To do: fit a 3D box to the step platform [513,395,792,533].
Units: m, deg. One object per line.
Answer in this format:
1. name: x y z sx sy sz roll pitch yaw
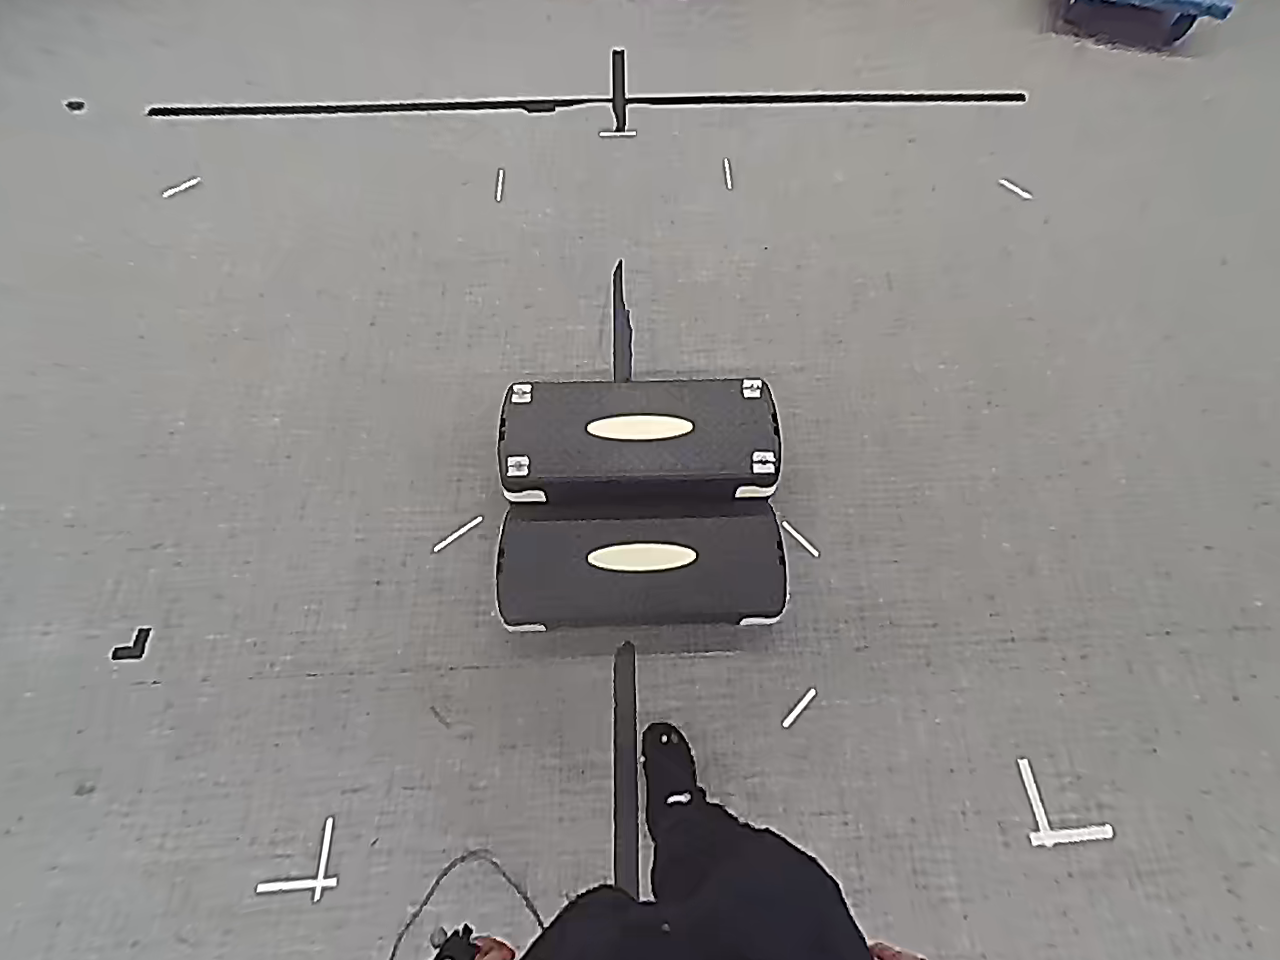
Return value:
1. step platform: 0.030 -0.043 1.364 0.684 0.204 0.286 3 64 0
